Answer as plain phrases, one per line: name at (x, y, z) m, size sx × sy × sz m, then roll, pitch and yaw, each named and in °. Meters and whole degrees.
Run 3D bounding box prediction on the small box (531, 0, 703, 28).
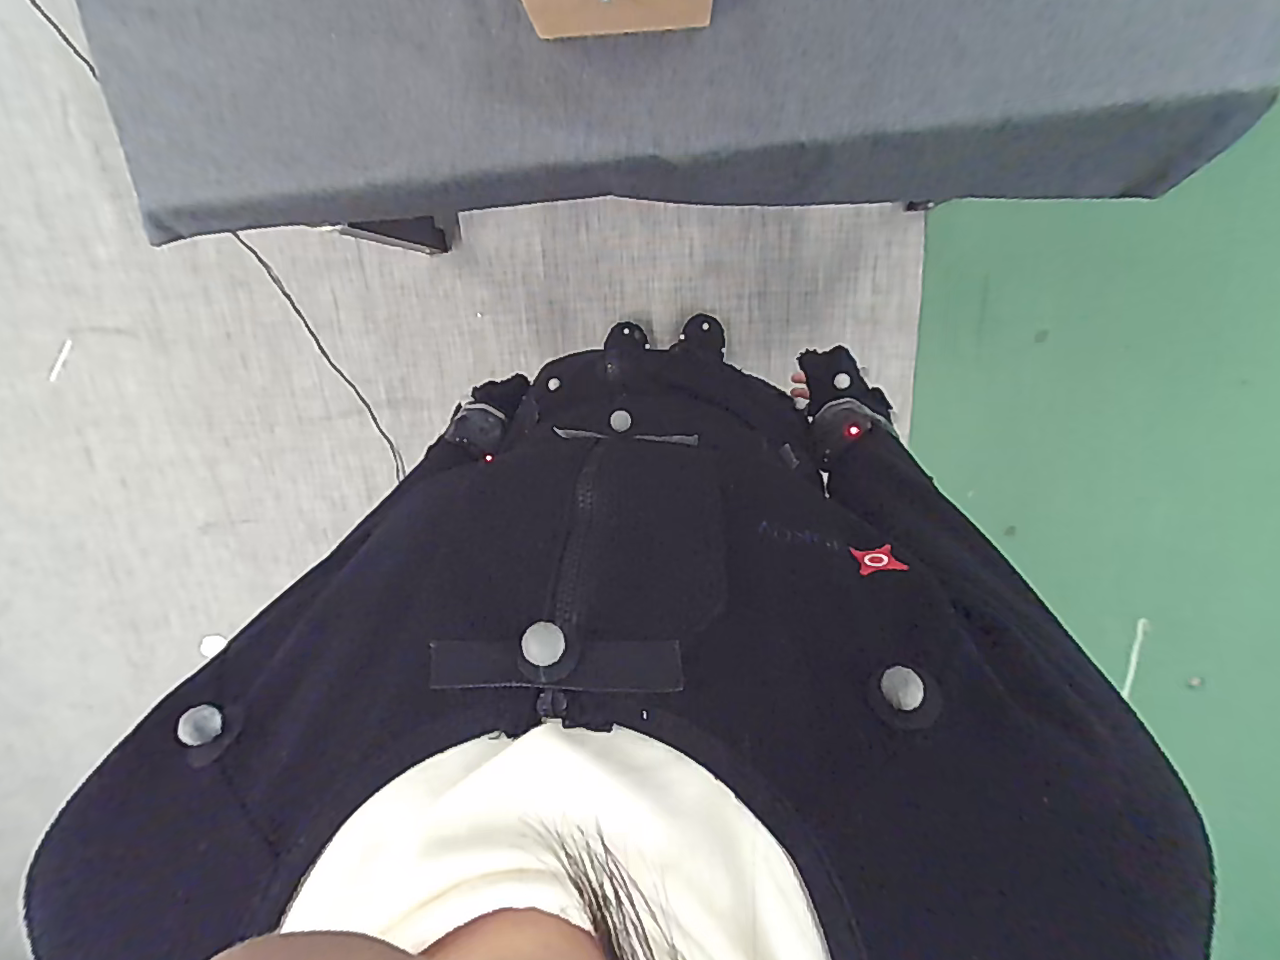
small box at (-0.021, -0.513, 0.445) m, size 0.179 × 0.176 × 0.168 m, roll -1°, pitch 107°, yaw 5°
